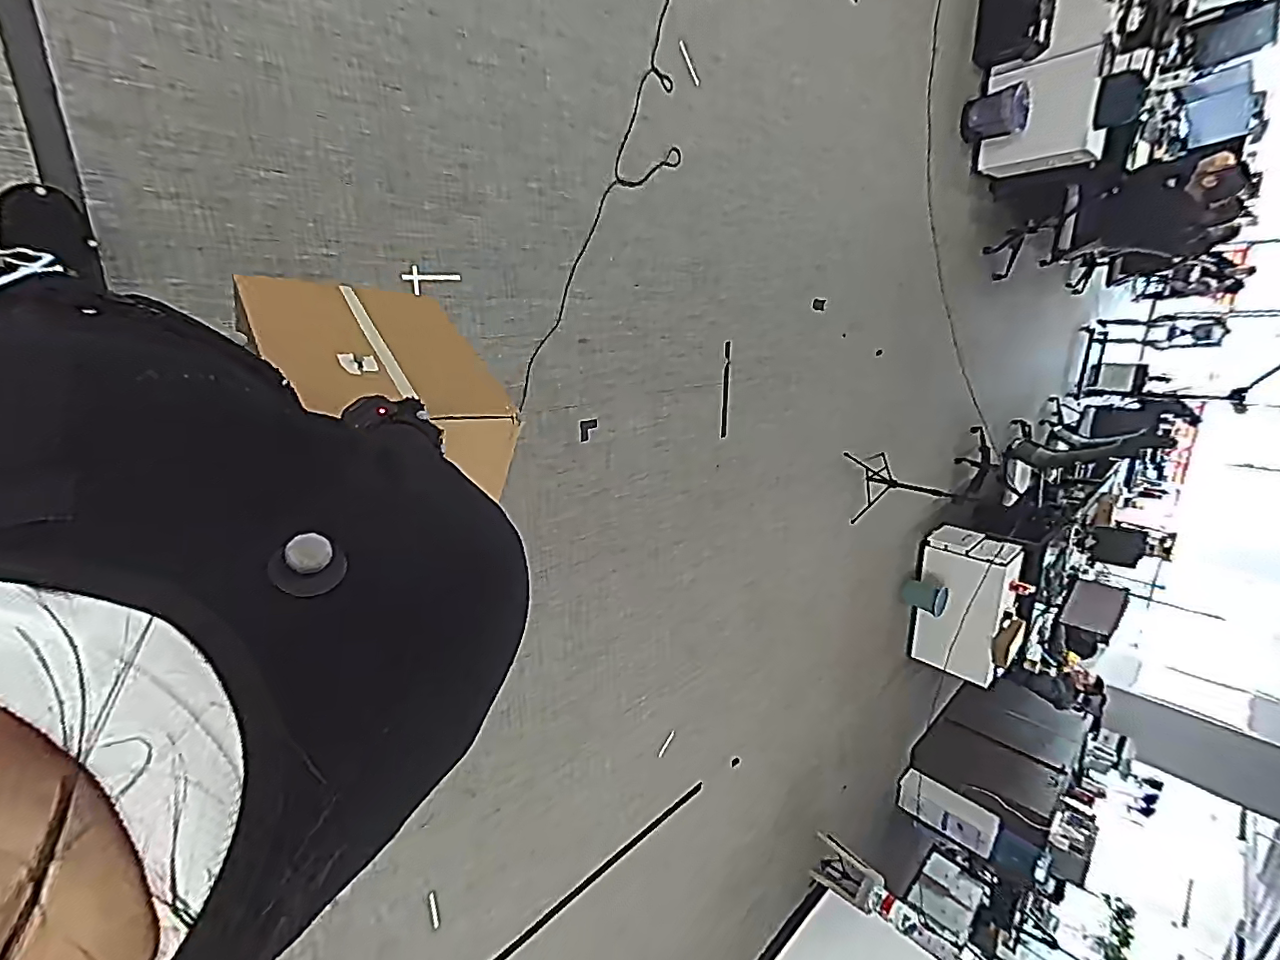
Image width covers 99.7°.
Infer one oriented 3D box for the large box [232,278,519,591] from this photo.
[{"bbox_3d":[-0.466,-0.087,0.915,0.320,0.408,0.320,-8,136,-41],"label":"large box"}]
